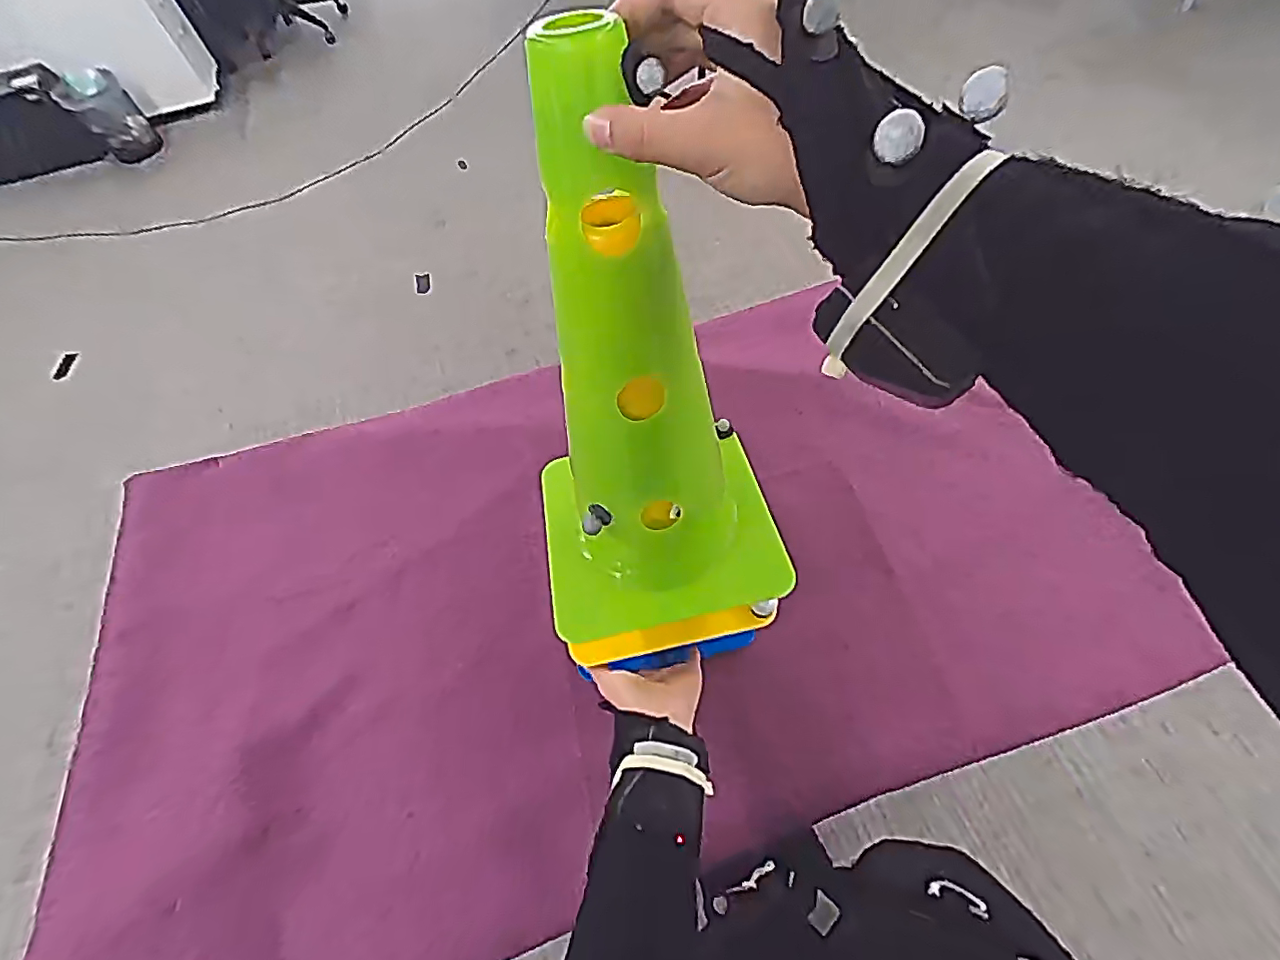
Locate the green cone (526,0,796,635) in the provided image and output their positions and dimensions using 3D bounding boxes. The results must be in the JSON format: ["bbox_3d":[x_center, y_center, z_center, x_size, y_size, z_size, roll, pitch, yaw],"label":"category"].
[{"bbox_3d":[-0.007,-0.076,0.349,0.200,0.368,0.202,-14,52,-1],"label":"green cone"}]
